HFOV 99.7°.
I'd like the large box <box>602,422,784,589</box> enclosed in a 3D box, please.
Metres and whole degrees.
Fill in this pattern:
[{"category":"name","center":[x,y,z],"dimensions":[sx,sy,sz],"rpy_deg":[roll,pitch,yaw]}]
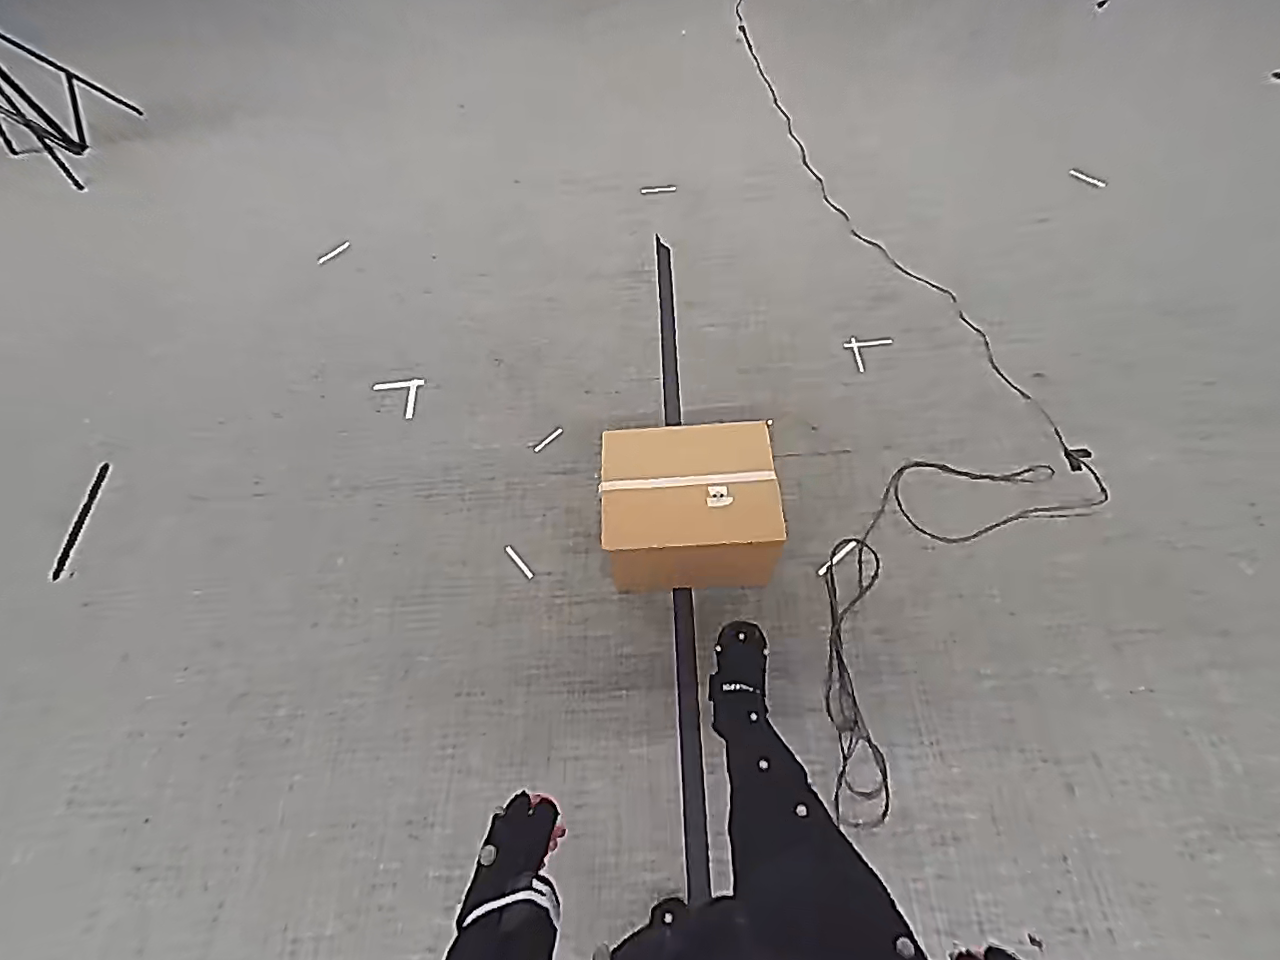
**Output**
[{"category":"large box","center":[0.120,0.077,1.382],"dimensions":[0.408,0.320,0.320],"rpy_deg":[-4,62,3]}]
